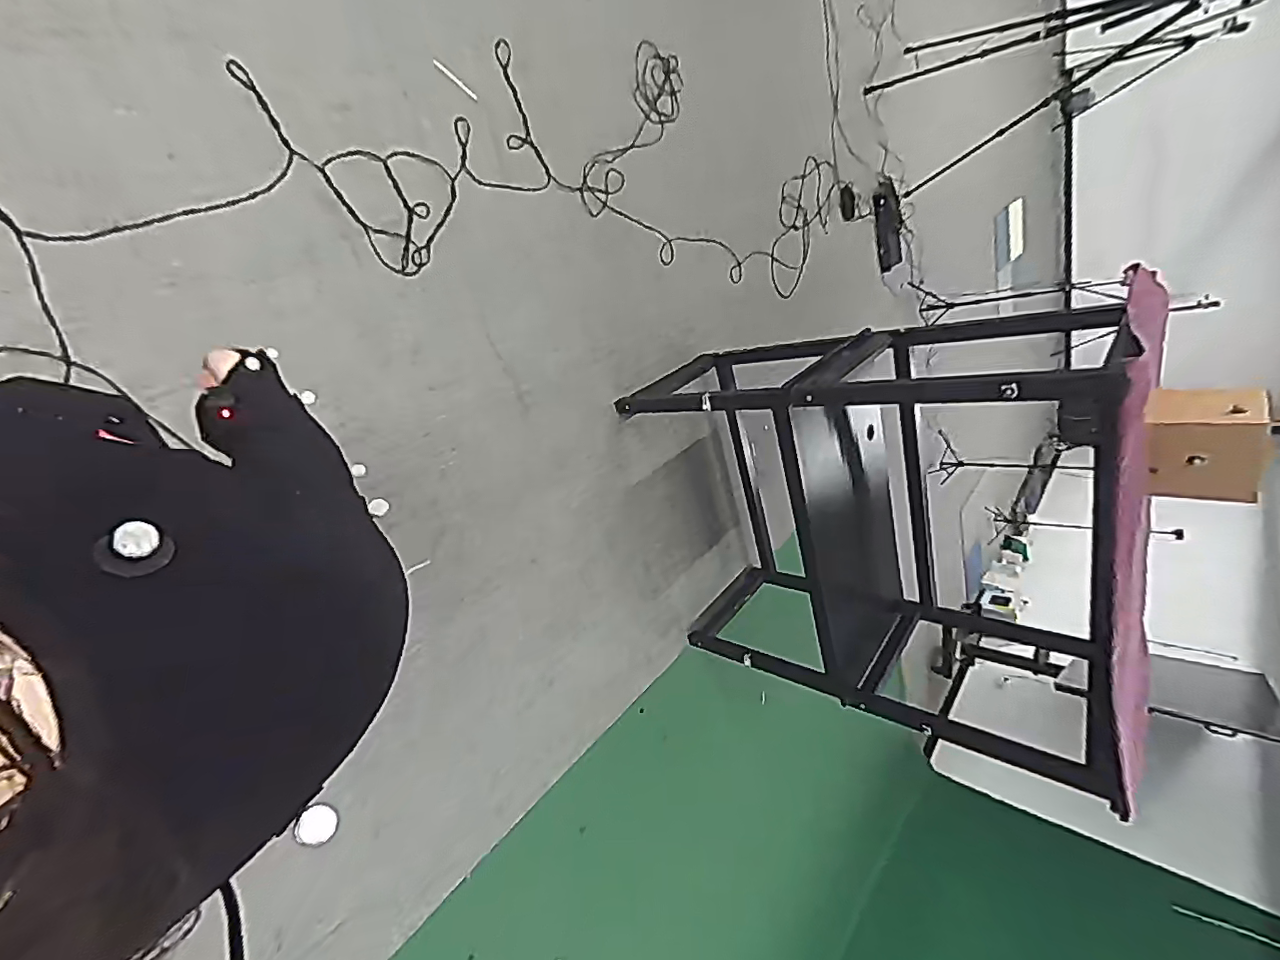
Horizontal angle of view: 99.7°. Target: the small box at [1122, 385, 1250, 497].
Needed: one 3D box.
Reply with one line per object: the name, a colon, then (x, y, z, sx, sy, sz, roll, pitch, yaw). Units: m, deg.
small box: (1.092, -0.081, 1.090, 0.179, 0.176, 0.168, -36, 119, -38)
